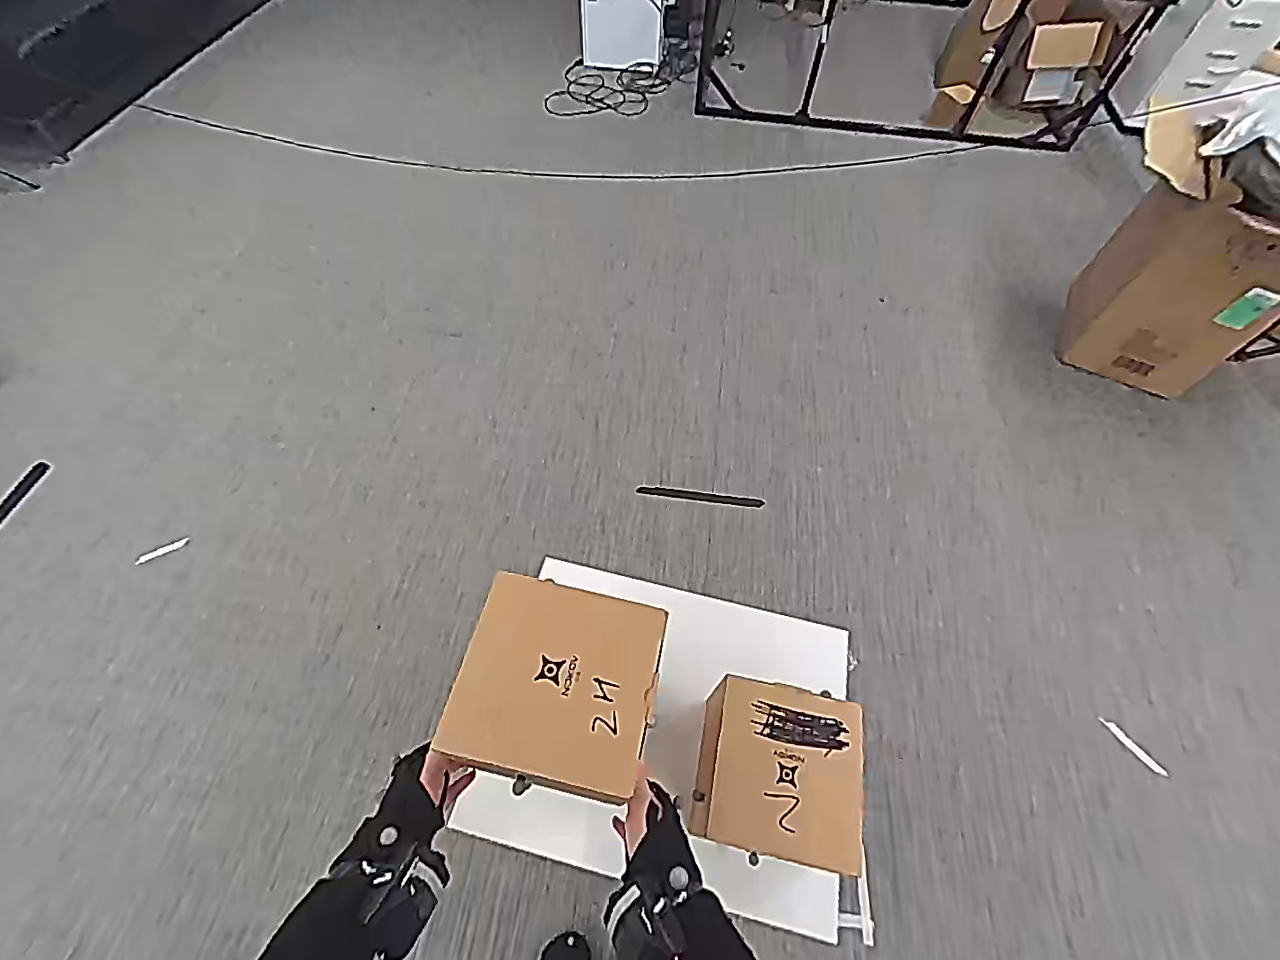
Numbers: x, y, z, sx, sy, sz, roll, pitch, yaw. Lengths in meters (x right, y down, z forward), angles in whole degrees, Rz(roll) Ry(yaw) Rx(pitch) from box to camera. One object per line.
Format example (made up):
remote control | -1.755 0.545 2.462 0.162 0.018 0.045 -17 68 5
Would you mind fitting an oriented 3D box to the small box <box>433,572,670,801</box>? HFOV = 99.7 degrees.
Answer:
small box | -0.079 0.218 0.554 0.179 0.176 0.168 13 58 3
